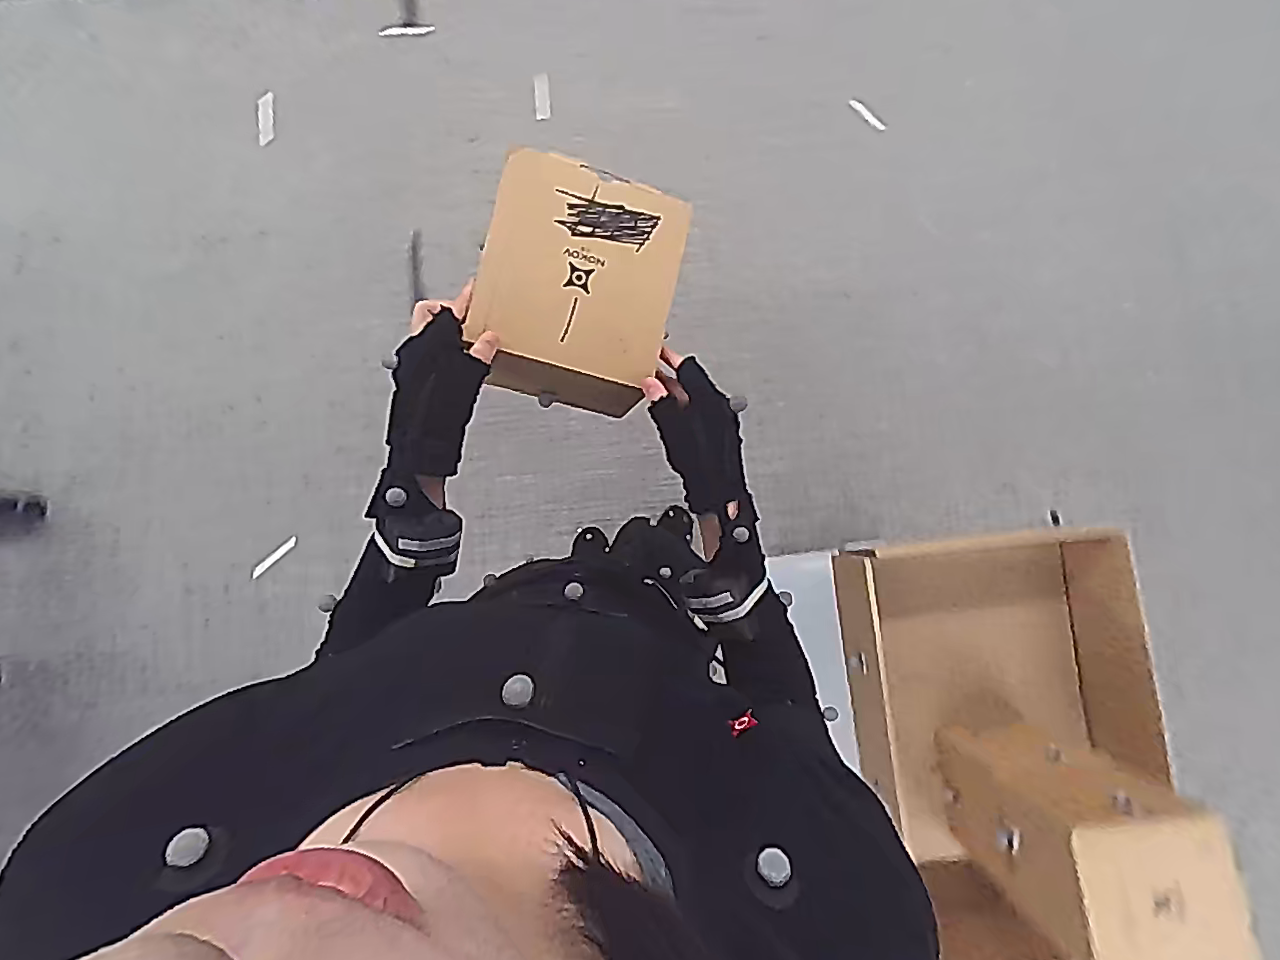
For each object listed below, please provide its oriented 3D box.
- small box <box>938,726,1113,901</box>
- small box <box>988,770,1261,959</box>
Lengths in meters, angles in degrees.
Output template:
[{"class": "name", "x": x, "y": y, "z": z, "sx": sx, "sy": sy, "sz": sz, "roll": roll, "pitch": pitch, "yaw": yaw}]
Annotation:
[{"class": "small box", "x": 0.590, "y": 0.500, "z": 0.829, "sx": 0.168, "sy": 0.176, "sz": 0.179, "roll": -6, "pitch": 83, "yaw": 1}, {"class": "small box", "x": 0.577, "y": 0.477, "z": 0.668, "sx": 0.179, "sy": 0.176, "sz": 0.168, "roll": -6, "pitch": 81, "yaw": 2}]
